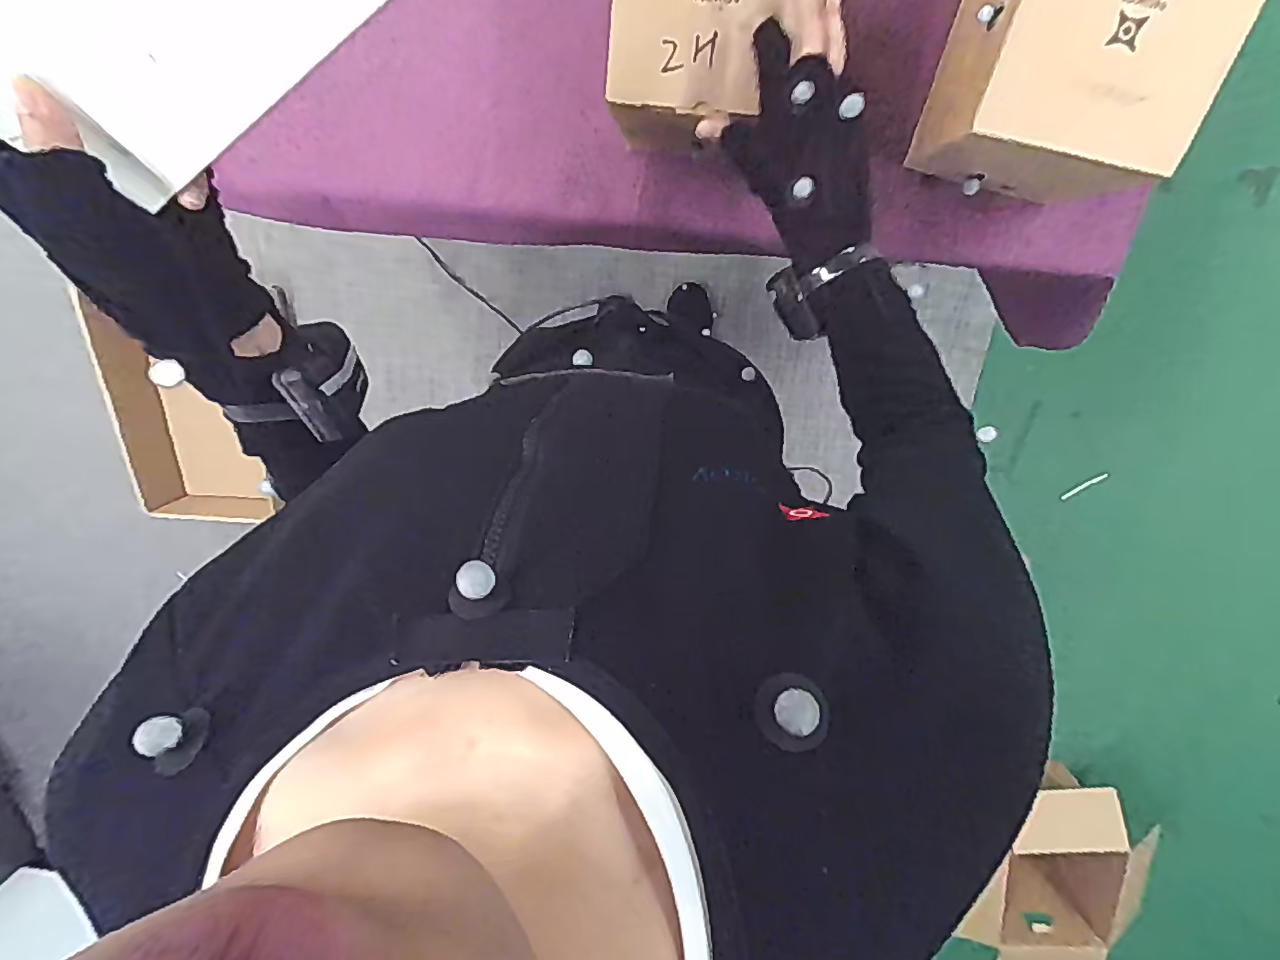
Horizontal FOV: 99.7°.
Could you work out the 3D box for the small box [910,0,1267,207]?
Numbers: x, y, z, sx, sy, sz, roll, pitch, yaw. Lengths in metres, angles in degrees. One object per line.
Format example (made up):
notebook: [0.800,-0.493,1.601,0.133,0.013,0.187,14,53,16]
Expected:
small box: [0.372,-0.363,0.479,0.168,0.176,0.179,15,112,0]

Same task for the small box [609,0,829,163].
small box: [0.071,-0.409,0.488,0.168,0.176,0.179,8,112,2]
